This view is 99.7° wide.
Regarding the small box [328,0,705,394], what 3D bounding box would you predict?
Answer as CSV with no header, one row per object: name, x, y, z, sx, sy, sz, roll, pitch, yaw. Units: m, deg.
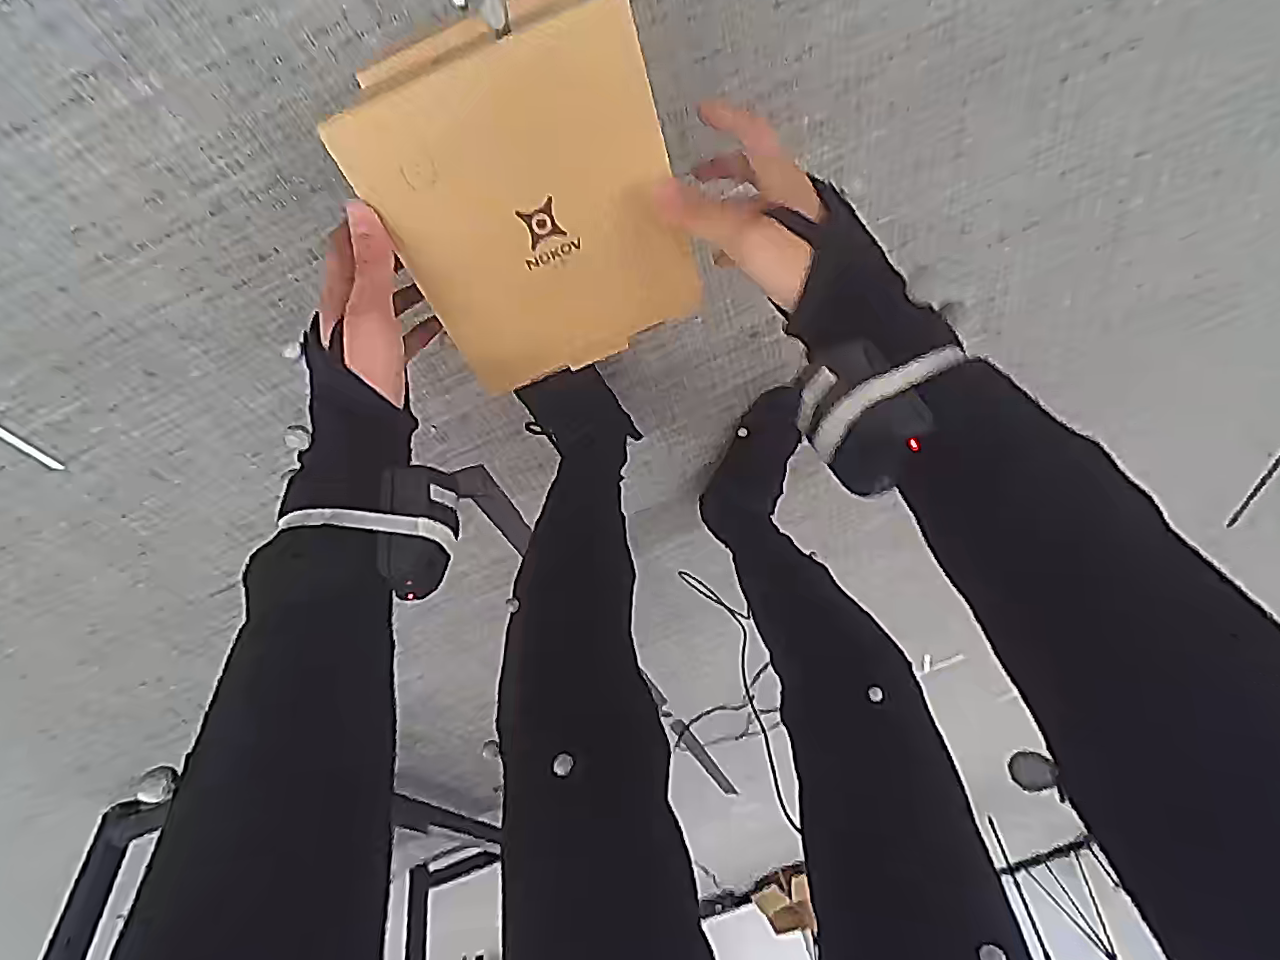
small box,-0.075,-0.198,0.374,0.168,0.176,0.179,-23,135,2
